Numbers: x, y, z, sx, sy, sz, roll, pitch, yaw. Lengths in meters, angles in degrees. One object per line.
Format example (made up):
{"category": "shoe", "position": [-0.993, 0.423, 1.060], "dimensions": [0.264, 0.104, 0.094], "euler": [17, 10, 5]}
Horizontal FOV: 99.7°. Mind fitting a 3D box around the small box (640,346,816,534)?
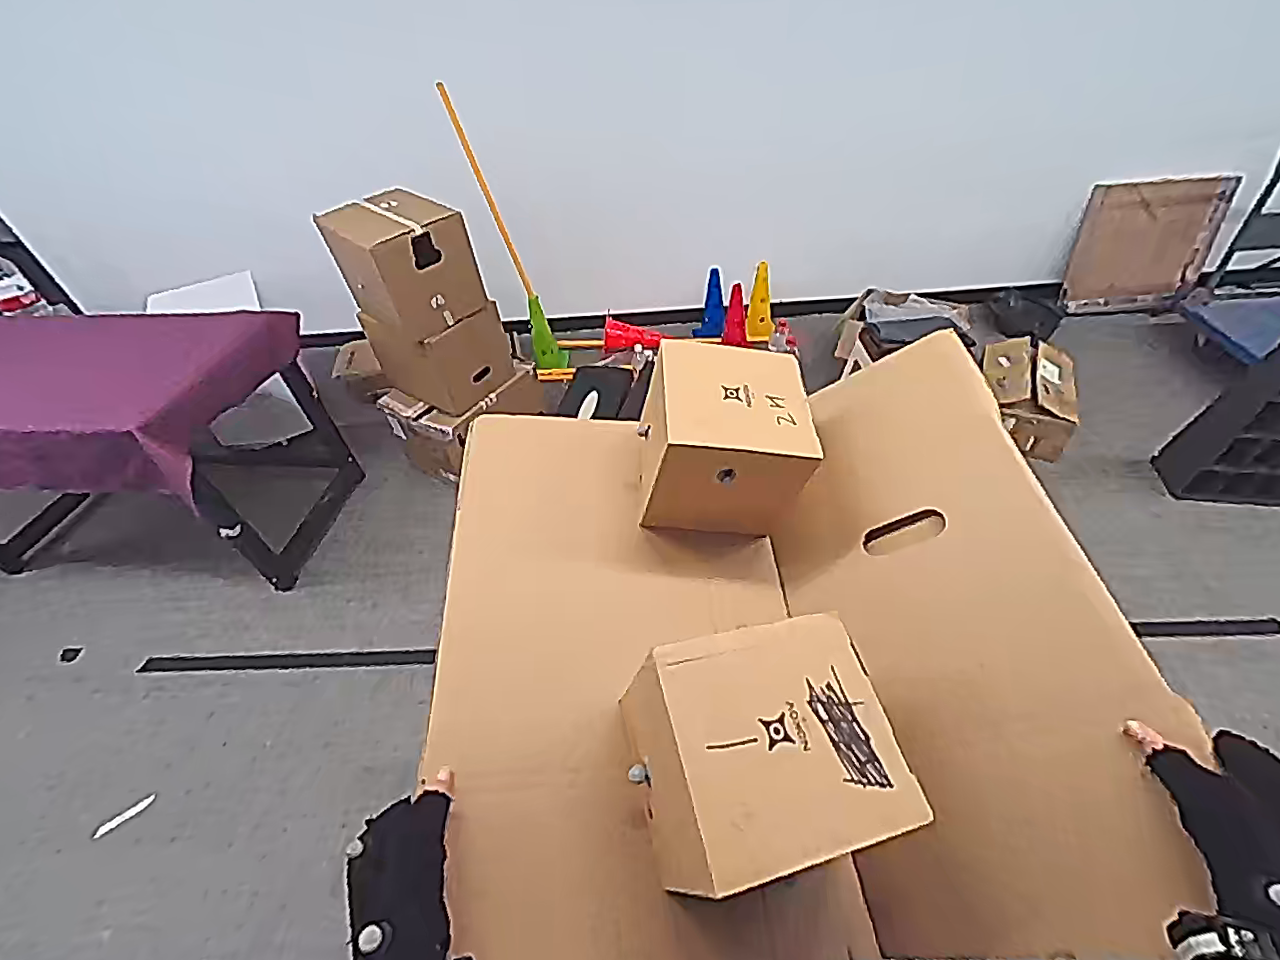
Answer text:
{"category": "small box", "position": [0.096, -0.044, 0.693], "dimensions": [0.179, 0.176, 0.168], "euler": [6, 54, -9]}
